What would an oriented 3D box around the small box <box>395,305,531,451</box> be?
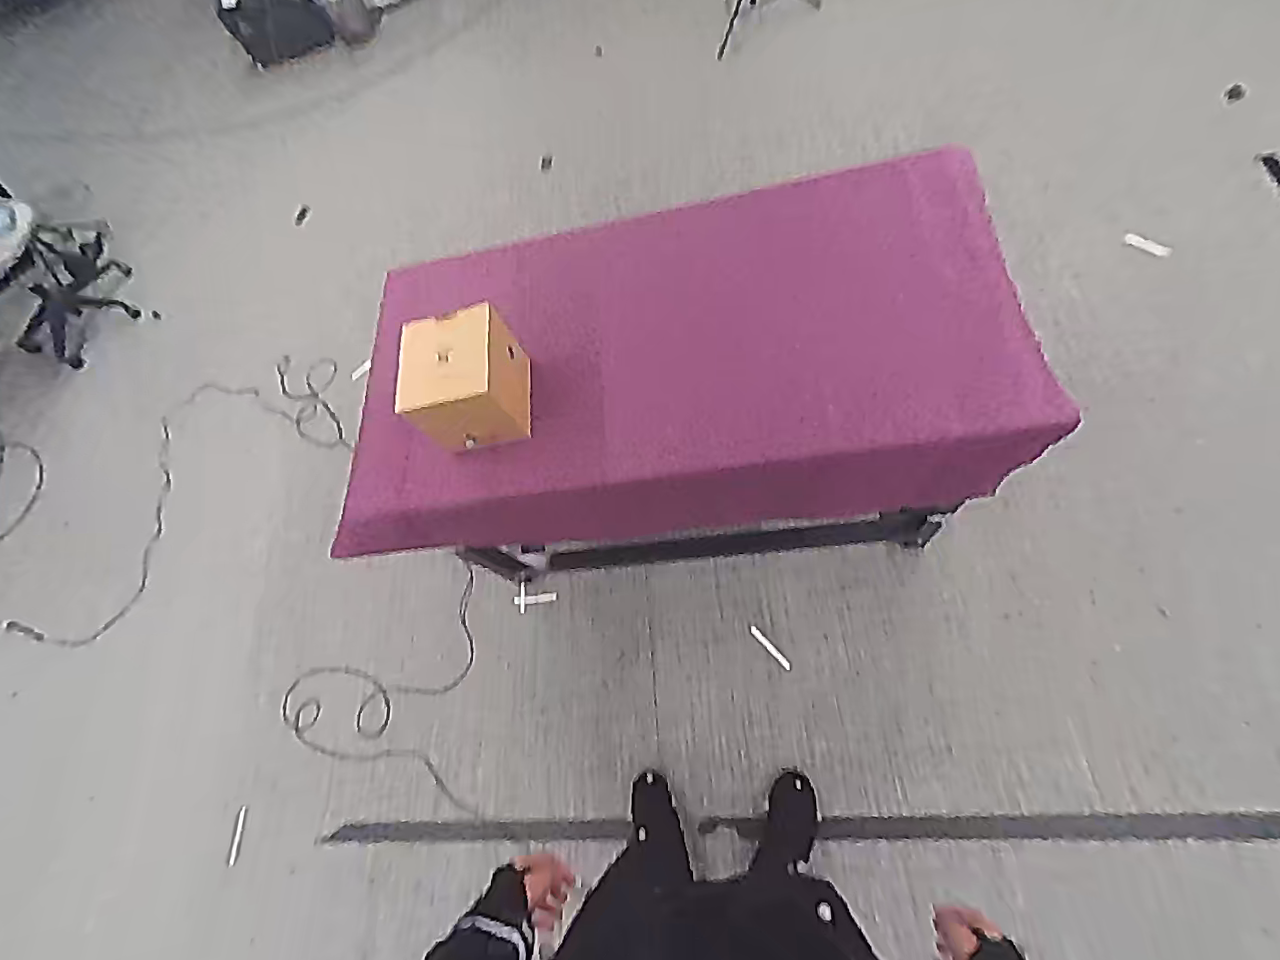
[{"bbox_3d":[-0.301,-0.173,0.955,0.168,0.176,0.179,-9,66,10],"label":"small box"}]
